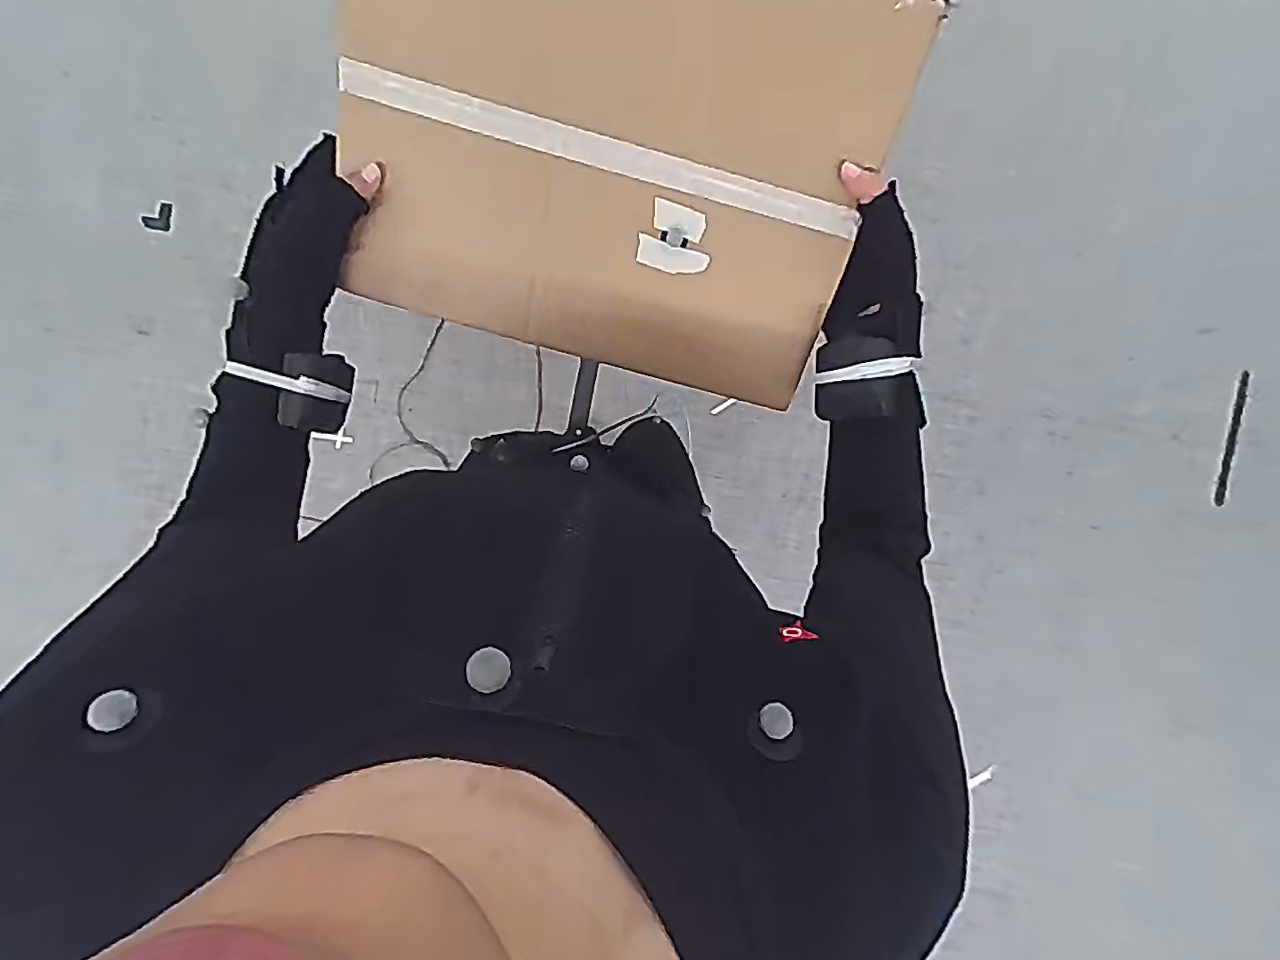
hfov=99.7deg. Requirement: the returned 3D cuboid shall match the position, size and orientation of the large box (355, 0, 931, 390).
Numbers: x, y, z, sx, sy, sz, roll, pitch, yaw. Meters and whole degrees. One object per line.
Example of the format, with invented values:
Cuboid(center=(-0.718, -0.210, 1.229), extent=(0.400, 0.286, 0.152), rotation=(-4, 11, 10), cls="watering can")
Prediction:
Cuboid(center=(-0.018, -0.320, 0.561), extent=(0.408, 0.320, 0.320), rotation=(14, 114, -5), cls="large box")
